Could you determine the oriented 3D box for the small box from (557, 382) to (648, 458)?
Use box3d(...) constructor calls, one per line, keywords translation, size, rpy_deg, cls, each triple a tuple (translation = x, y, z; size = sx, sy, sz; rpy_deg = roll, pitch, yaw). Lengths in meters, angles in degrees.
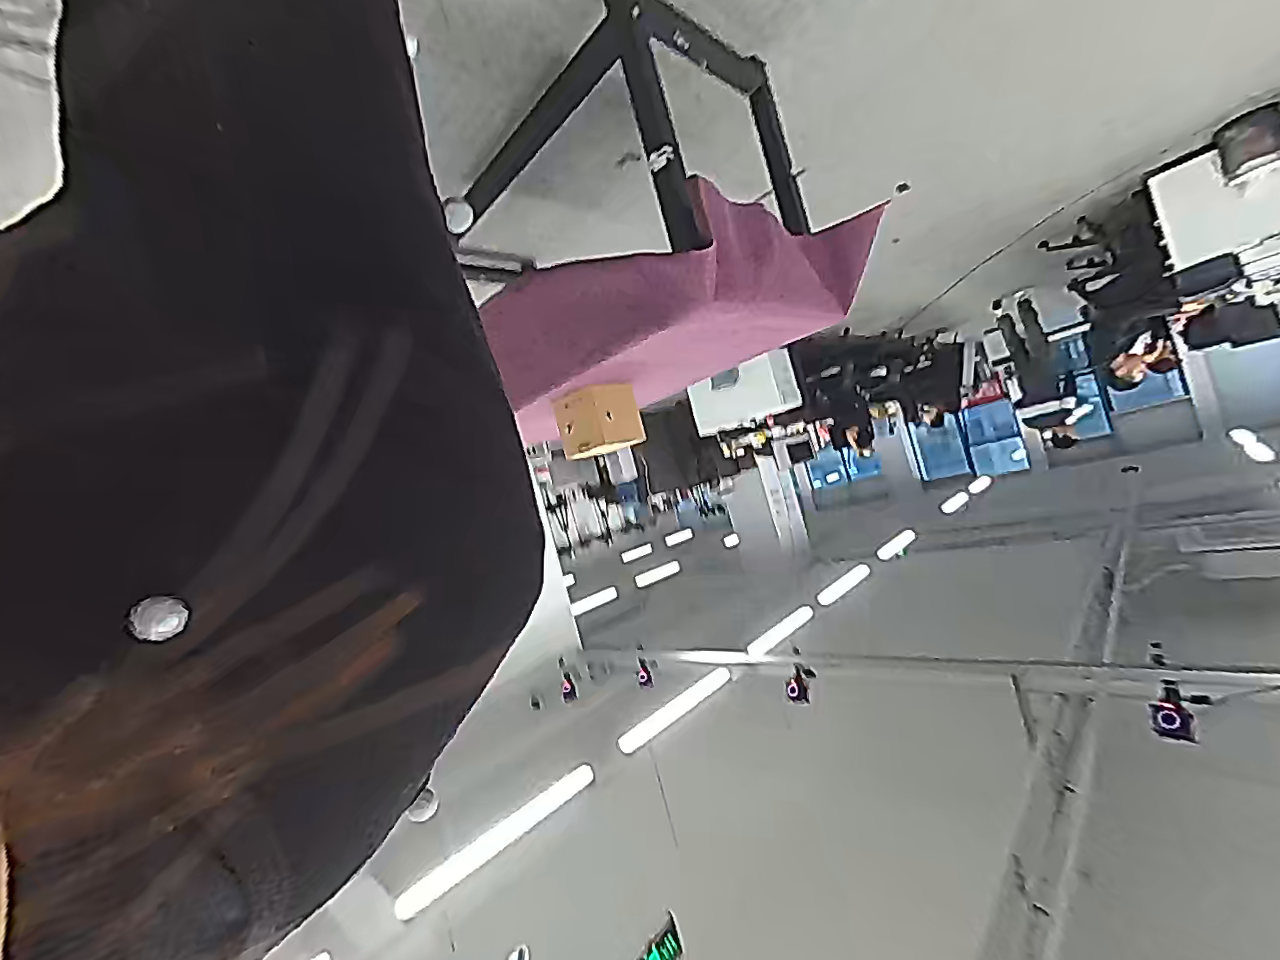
box3d(translation=(-0.109, -0.173, 1.531), size=(0.168, 0.176, 0.179), rpy_deg=(-16, 179, 41), cls="small box")
